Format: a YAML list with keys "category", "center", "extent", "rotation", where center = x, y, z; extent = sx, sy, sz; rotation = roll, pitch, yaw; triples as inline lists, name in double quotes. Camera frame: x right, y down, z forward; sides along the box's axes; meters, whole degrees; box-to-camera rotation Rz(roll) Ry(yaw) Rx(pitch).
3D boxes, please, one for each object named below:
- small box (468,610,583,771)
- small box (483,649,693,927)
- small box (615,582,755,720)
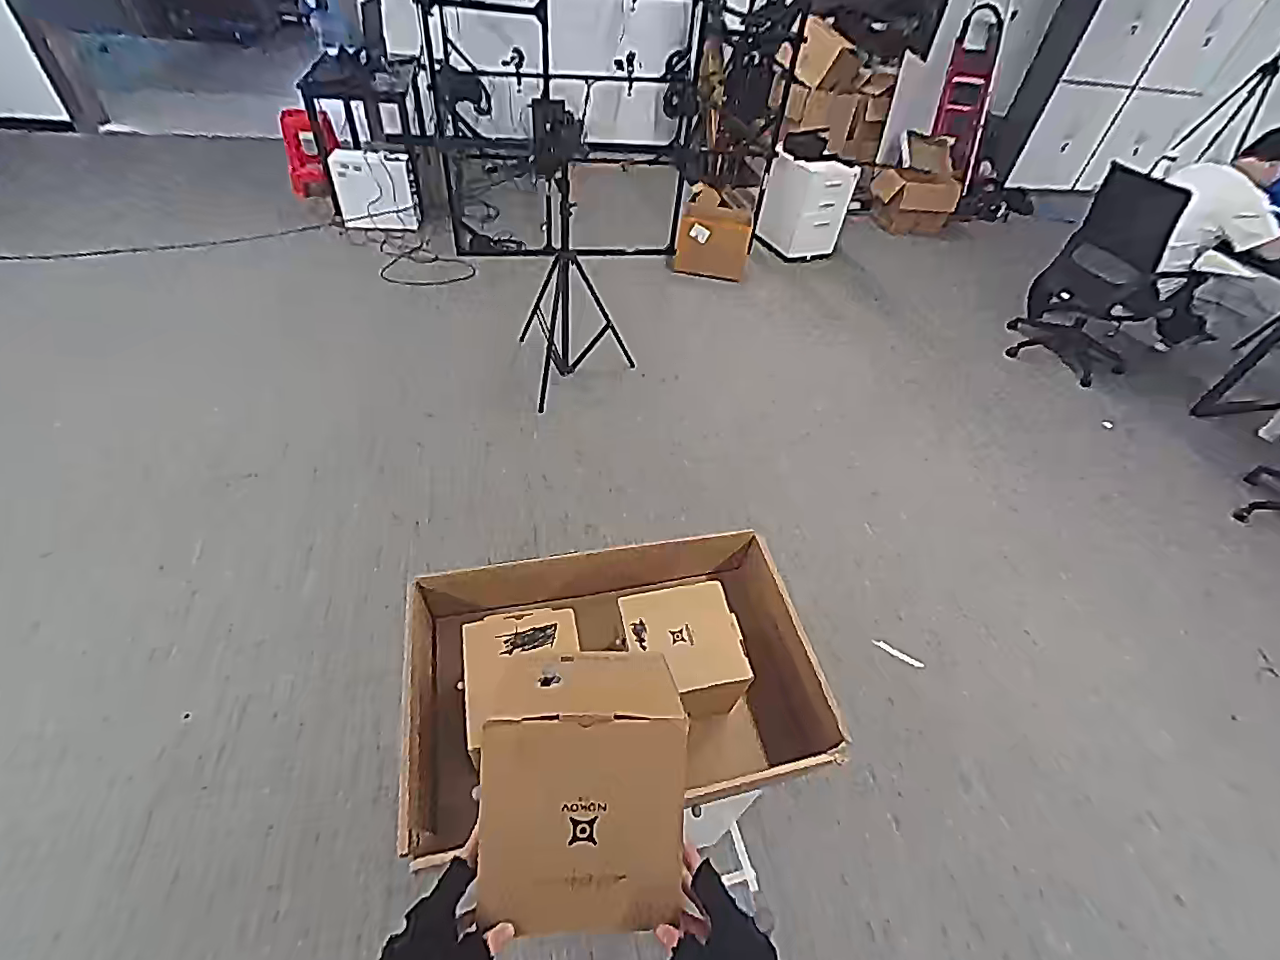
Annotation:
- category: "small box"
  center: [-0.169, 0.324, 0.824]
  extent: [0.168, 0.176, 0.179]
  rotation: [-6, 53, -14]
- category: "small box"
  center: [-0.048, 0.269, 0.515]
  extent: [0.168, 0.179, 0.176]
  rotation: [2, 1, -5]
- category: "small box"
  center: [0.062, 0.290, 0.888]
  extent: [0.179, 0.176, 0.168]
  rotation: [-7, 51, -13]
